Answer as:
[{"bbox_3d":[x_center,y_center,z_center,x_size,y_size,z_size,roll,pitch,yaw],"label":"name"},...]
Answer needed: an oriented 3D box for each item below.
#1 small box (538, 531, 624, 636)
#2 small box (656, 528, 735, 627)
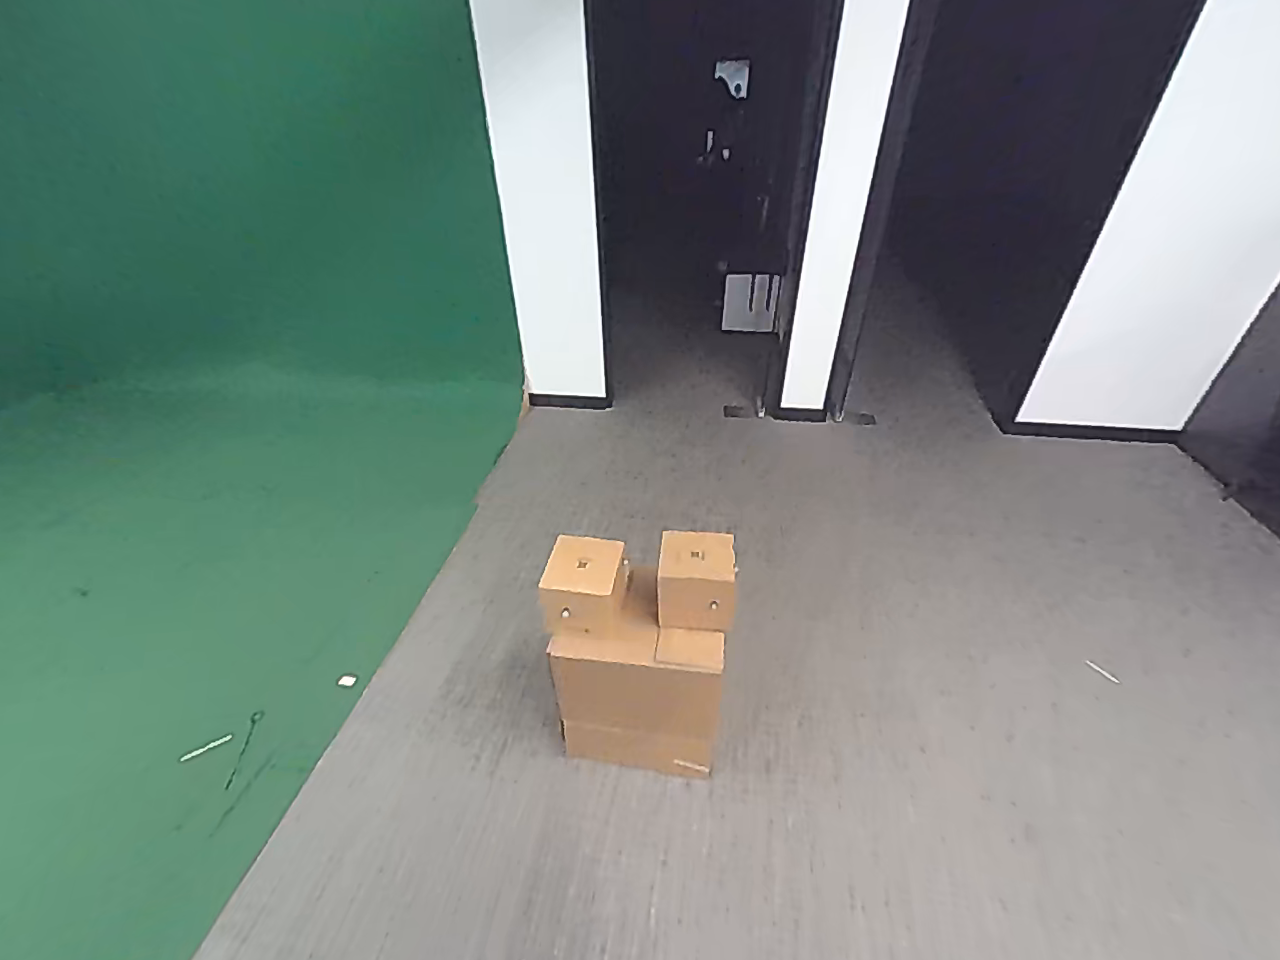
[{"bbox_3d":[-0.134,0.250,1.301,0.168,0.176,0.179,7,38,7],"label":"small box"},{"bbox_3d":[0.136,0.238,1.316,0.179,0.176,0.168,3,35,7],"label":"small box"}]
